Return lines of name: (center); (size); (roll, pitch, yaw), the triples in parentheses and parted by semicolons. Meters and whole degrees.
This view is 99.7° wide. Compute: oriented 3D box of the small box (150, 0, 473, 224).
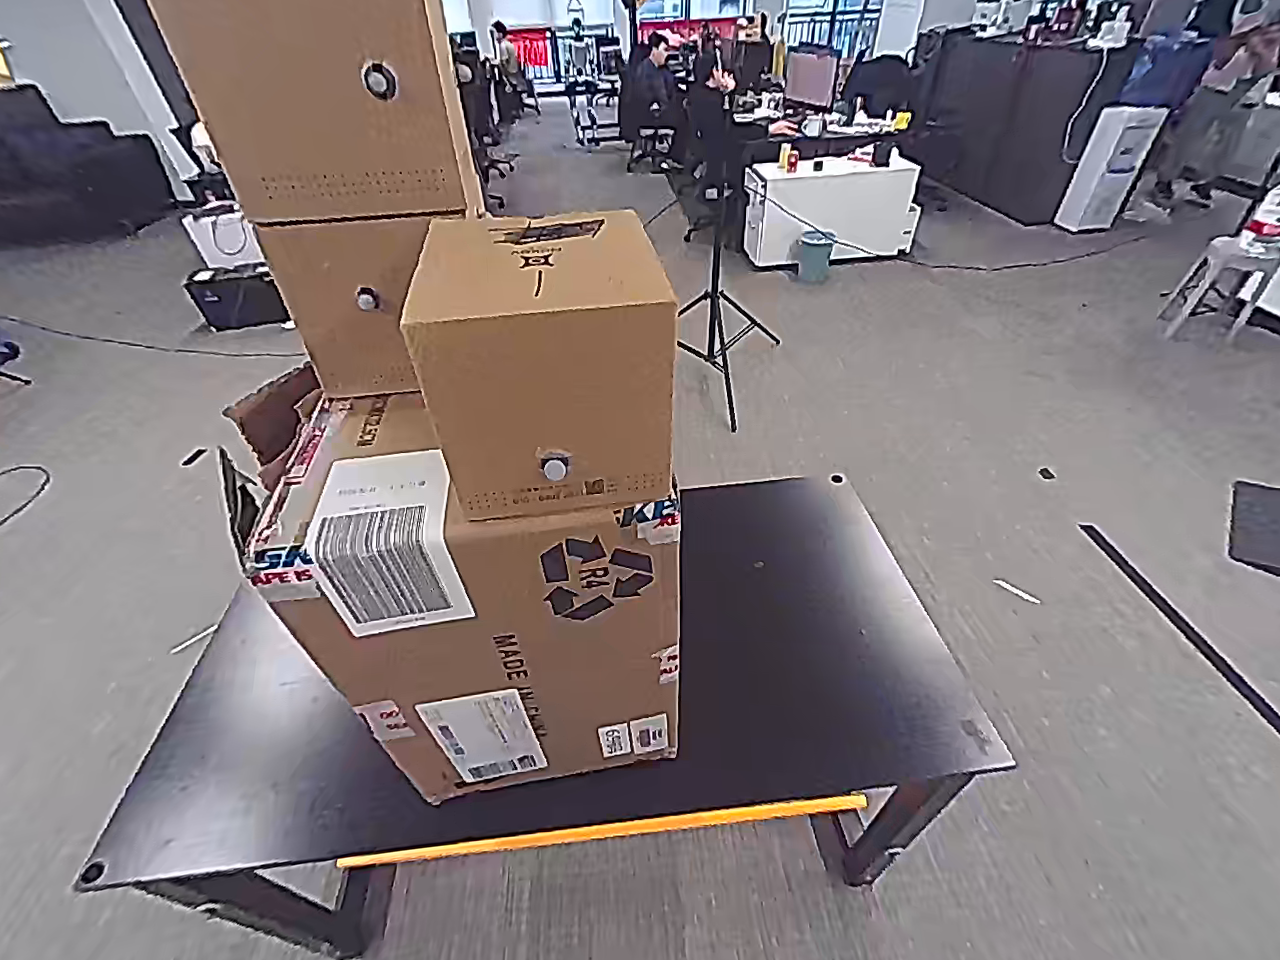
small box: (-0.245, -0.328, 0.453); (0.179, 0.176, 0.168); (-9, 39, -8)

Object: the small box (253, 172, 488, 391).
small box: (-0.242, -0.205, 0.561); (0.179, 0.176, 0.168); (-8, 40, -6)

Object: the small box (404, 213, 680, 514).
small box: (-0.068, -0.097, 0.433); (0.168, 0.176, 0.179); (-7, 43, -6)
